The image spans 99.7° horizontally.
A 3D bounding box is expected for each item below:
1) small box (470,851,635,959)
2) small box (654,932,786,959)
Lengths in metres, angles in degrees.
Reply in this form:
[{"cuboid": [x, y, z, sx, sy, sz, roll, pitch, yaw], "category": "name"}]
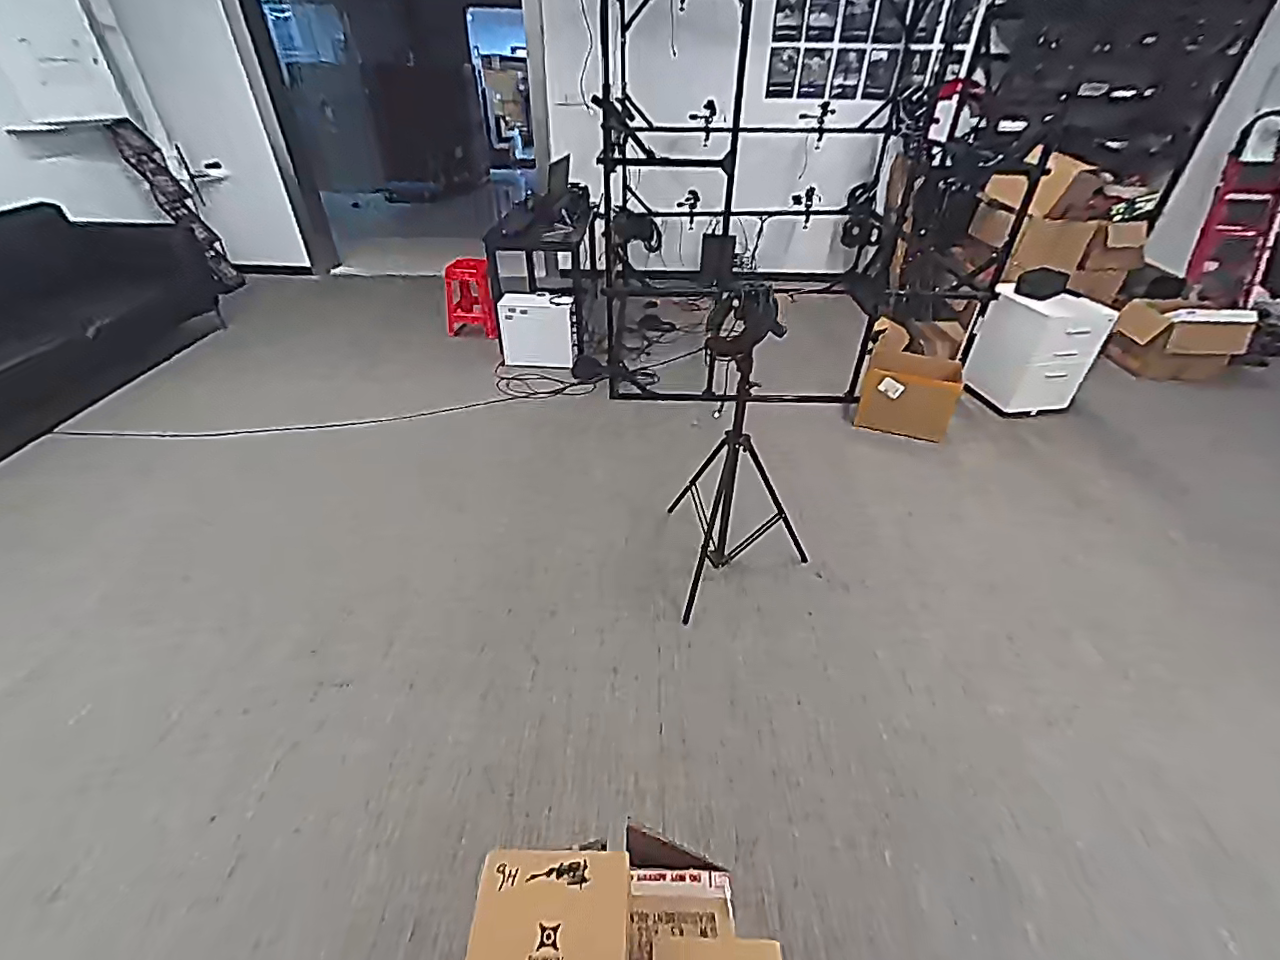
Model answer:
[{"cuboid": [-0.091, 0.544, 0.607, 0.168, 0.176, 0.179, 0, 40, 1], "category": "small box"}, {"cuboid": [0.097, 0.702, 0.676, 0.168, 0.176, 0.179, 2, 38, -1], "category": "small box"}]
